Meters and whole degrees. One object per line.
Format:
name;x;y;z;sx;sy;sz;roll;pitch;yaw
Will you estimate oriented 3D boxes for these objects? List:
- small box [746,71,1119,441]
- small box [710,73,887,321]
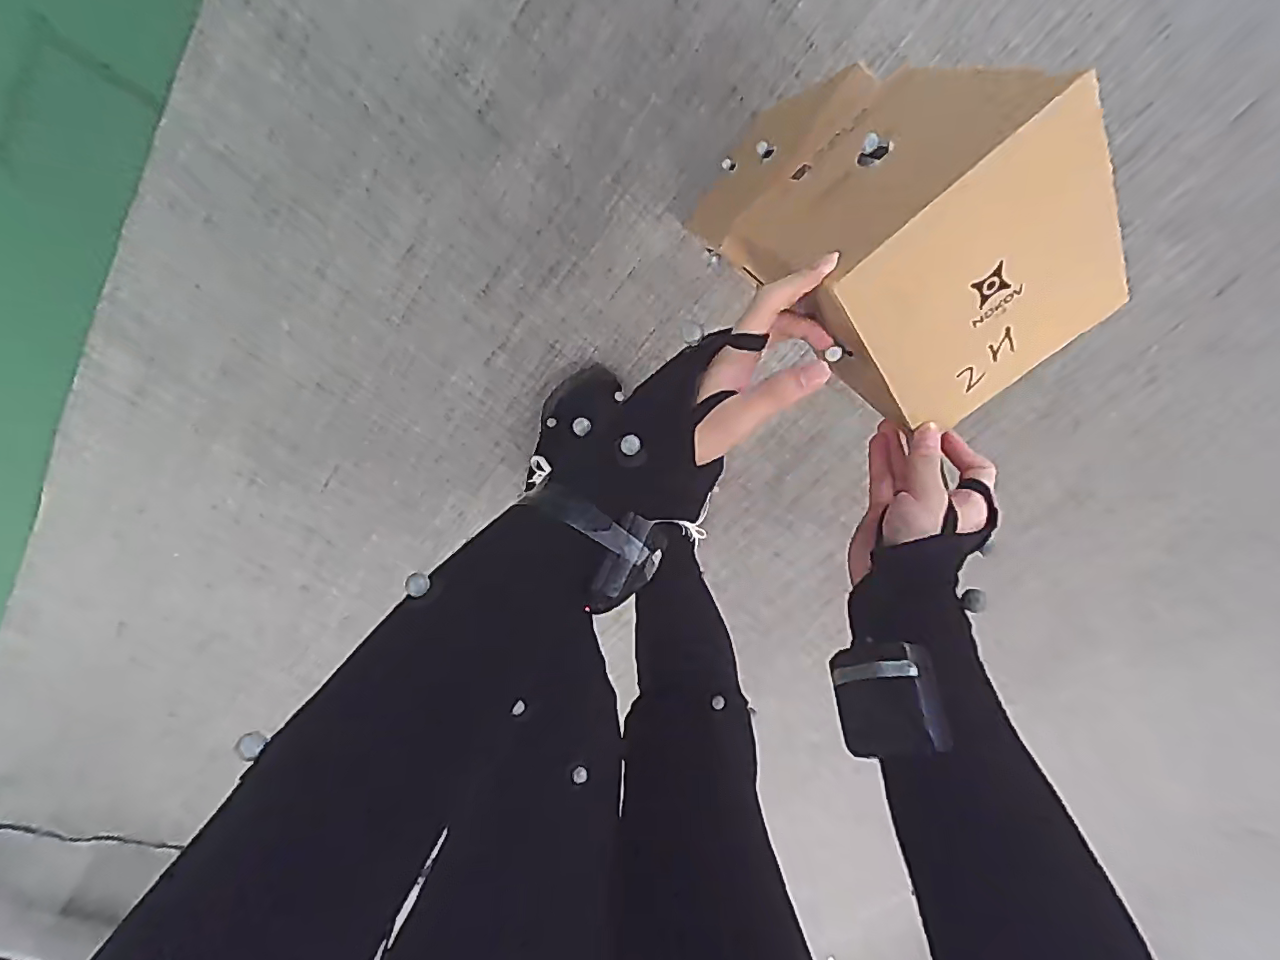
small box;0.211;-0.170;0.421;0.168;0.176;0.179;-40;126;14
small box;0.190;-0.270;0.570;0.168;0.176;0.179;33;111;-18
